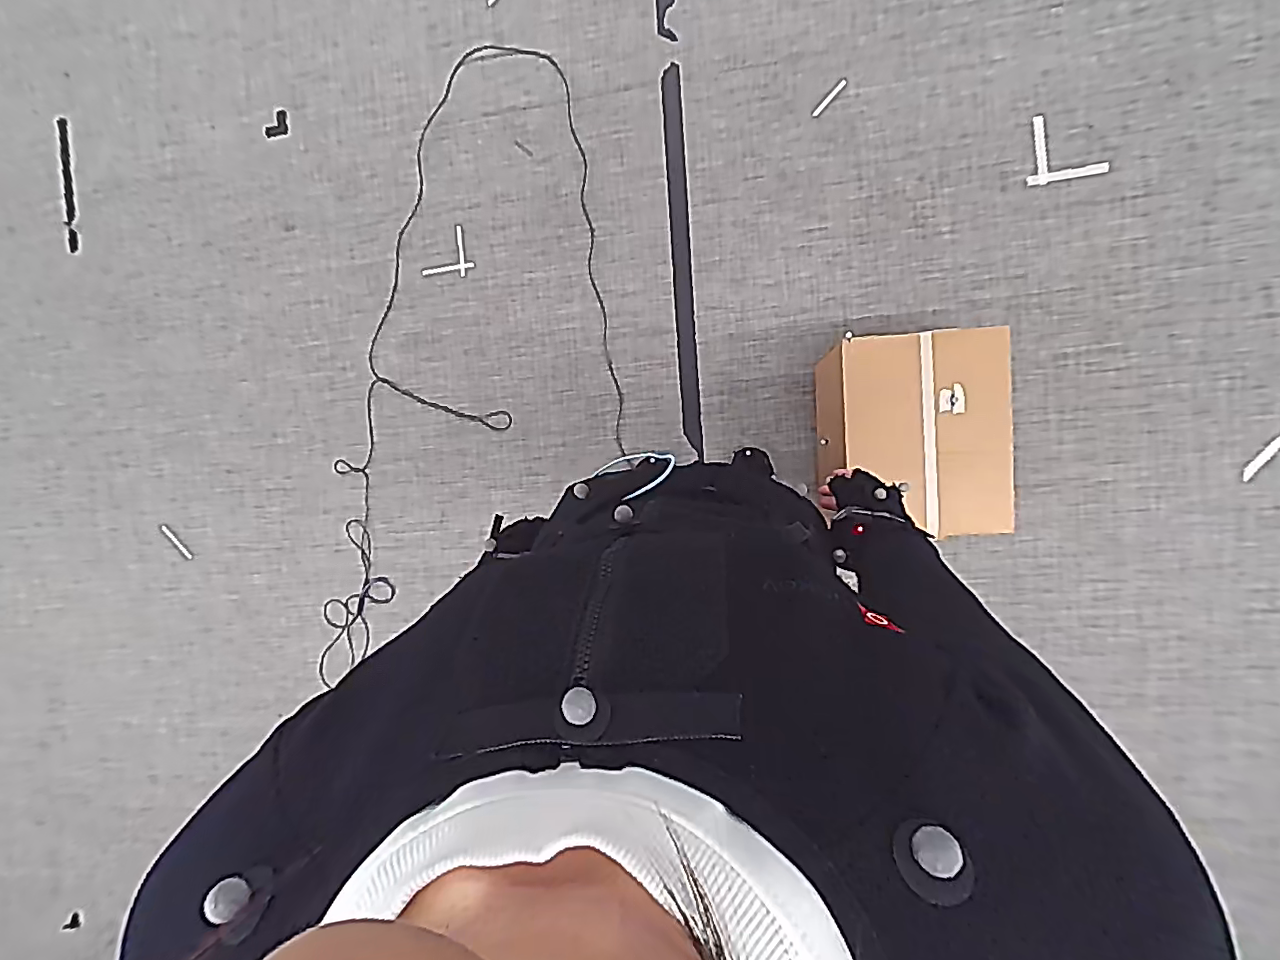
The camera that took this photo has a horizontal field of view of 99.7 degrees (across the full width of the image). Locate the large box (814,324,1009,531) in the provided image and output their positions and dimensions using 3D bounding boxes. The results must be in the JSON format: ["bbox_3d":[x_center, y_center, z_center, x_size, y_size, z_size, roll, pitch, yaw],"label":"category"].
[{"bbox_3d":[0.588,-0.104,1.234,0.320,0.320,0.408,-3,92,7],"label":"large box"}]
